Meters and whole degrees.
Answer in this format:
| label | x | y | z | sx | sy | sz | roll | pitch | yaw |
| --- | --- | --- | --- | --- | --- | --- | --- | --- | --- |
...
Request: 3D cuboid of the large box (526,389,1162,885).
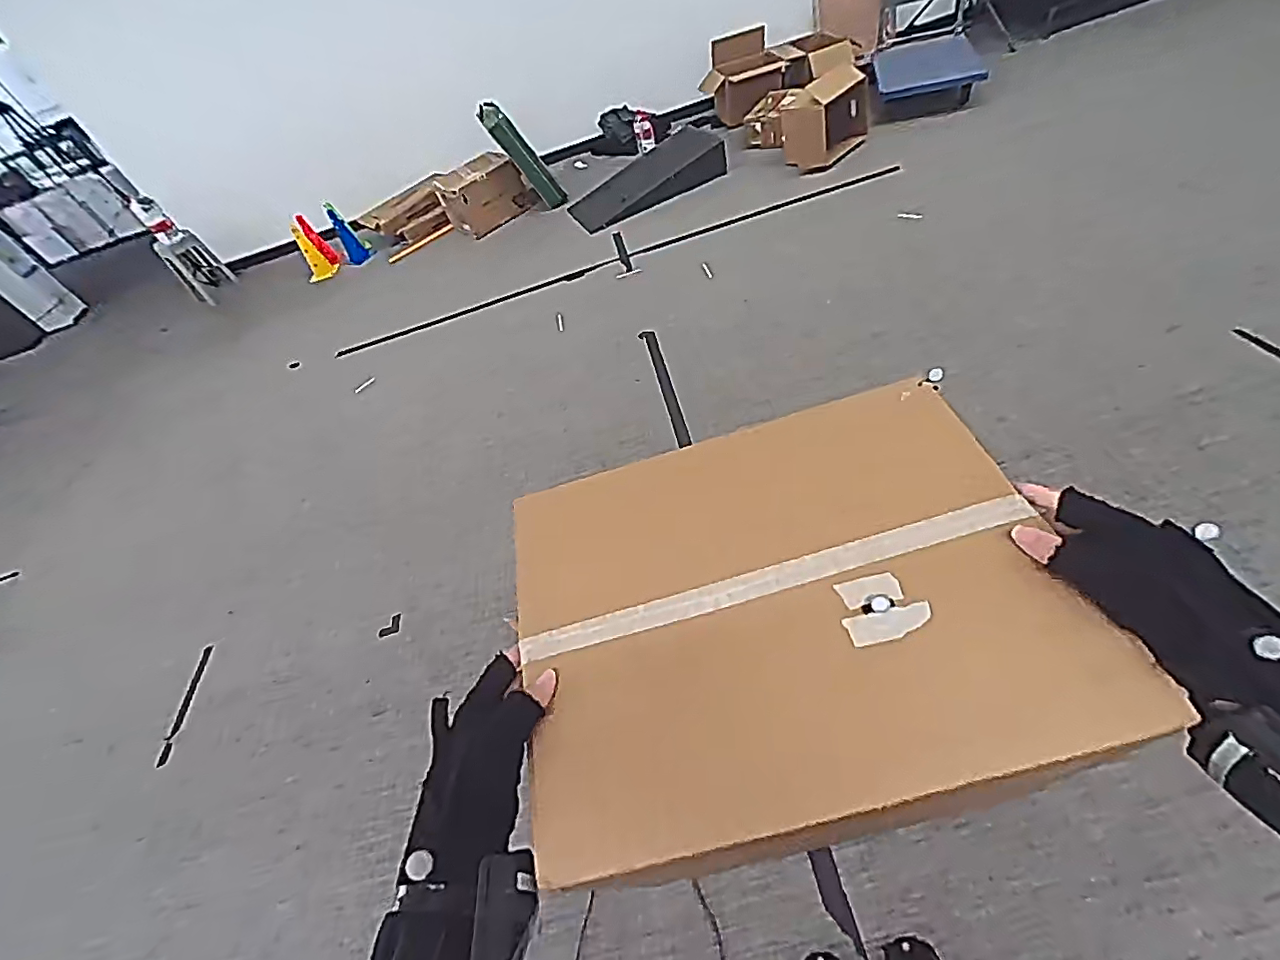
| label | x | y | z | sx | sy | sz | roll | pitch | yaw |
| --- | --- | --- | --- | --- | --- | --- | --- | --- | --- |
| large box | 0.136 | 0.172 | 0.548 | 0.408 | 0.320 | 0.320 | -17 | 52 | 3 |
